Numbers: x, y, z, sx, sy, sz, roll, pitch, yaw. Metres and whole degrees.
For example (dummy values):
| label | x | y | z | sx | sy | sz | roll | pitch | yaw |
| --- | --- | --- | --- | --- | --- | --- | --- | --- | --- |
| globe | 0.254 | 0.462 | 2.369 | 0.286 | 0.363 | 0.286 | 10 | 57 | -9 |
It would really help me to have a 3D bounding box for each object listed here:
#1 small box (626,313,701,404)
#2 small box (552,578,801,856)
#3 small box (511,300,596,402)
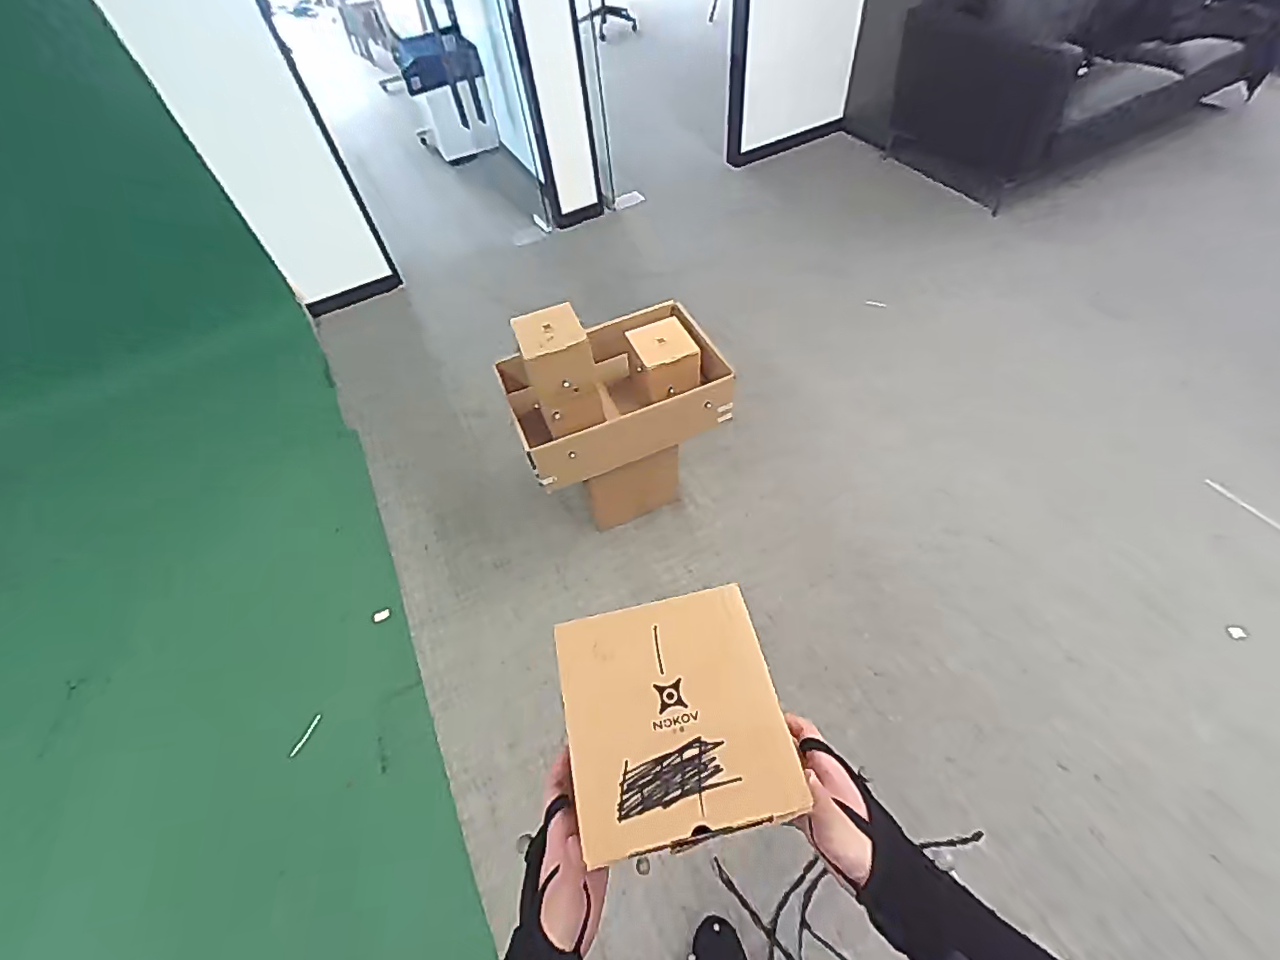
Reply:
| label | x | y | z | sx | sy | sz | roll | pitch | yaw |
| --- | --- | --- | --- | --- | --- | --- | --- | --- | --- |
| small box | 0.069 | -0.361 | 1.616 | 0.168 | 0.176 | 0.179 | -21 | 56 | -9 |
| small box | 0.026 | 0.214 | 0.487 | 0.168 | 0.176 | 0.179 | -12 | 56 | -3 |
| small box | -0.226 | -0.339 | 1.429 | 0.168 | 0.176 | 0.179 | -20 | 55 | -7 |
